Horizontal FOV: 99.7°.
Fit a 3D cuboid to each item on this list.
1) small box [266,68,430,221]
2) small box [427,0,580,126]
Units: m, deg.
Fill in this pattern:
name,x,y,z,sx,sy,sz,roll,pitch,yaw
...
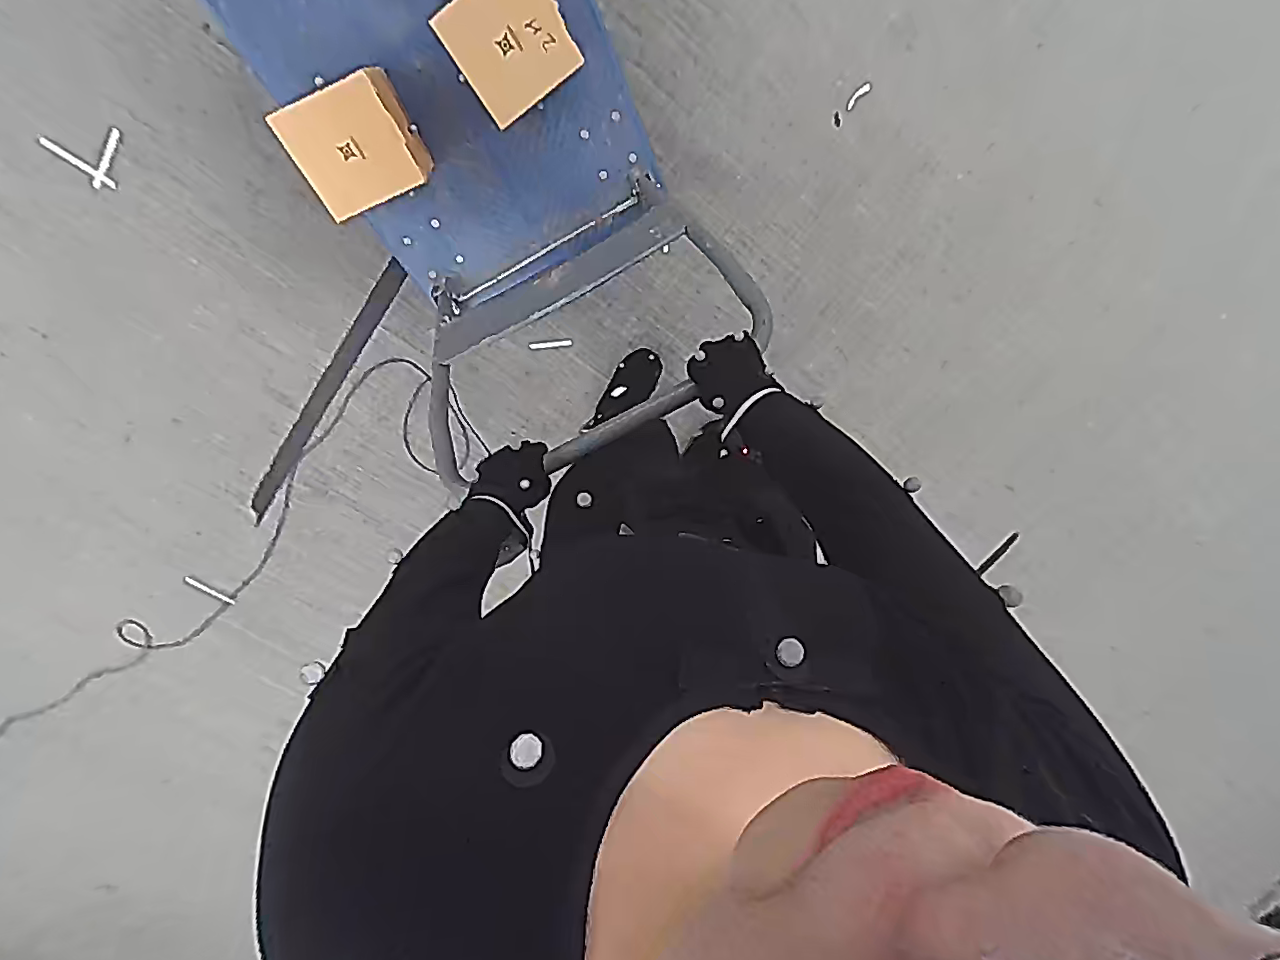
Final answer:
name,x,y,z,sx,sy,sz,roll,pitch,yaw
small box,-0.489,-0.582,0.939,0.179,0.176,0.168,-25,129,3
small box,-0.221,-0.727,0.895,0.179,0.176,0.168,-32,129,11
